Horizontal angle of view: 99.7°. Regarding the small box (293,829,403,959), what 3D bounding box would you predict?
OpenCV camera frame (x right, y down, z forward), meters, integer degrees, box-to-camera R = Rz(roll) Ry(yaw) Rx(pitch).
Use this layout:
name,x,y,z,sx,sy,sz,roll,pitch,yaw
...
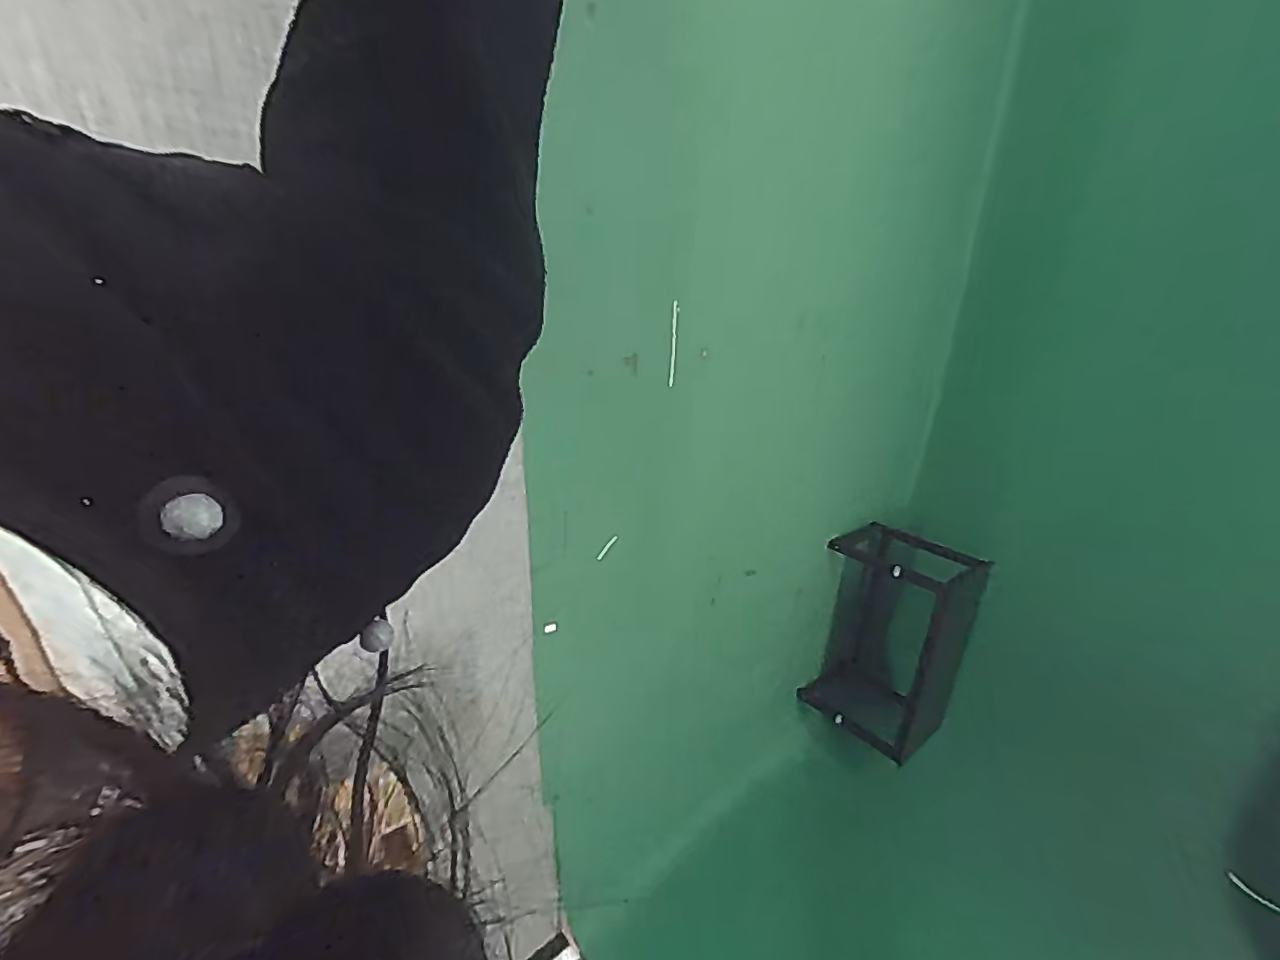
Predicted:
name,x,y,z,sx,sy,sz,roll,pitch,yaw
small box,-0.666,0.957,1.235,0.168,0.176,0.179,-20,120,-37
